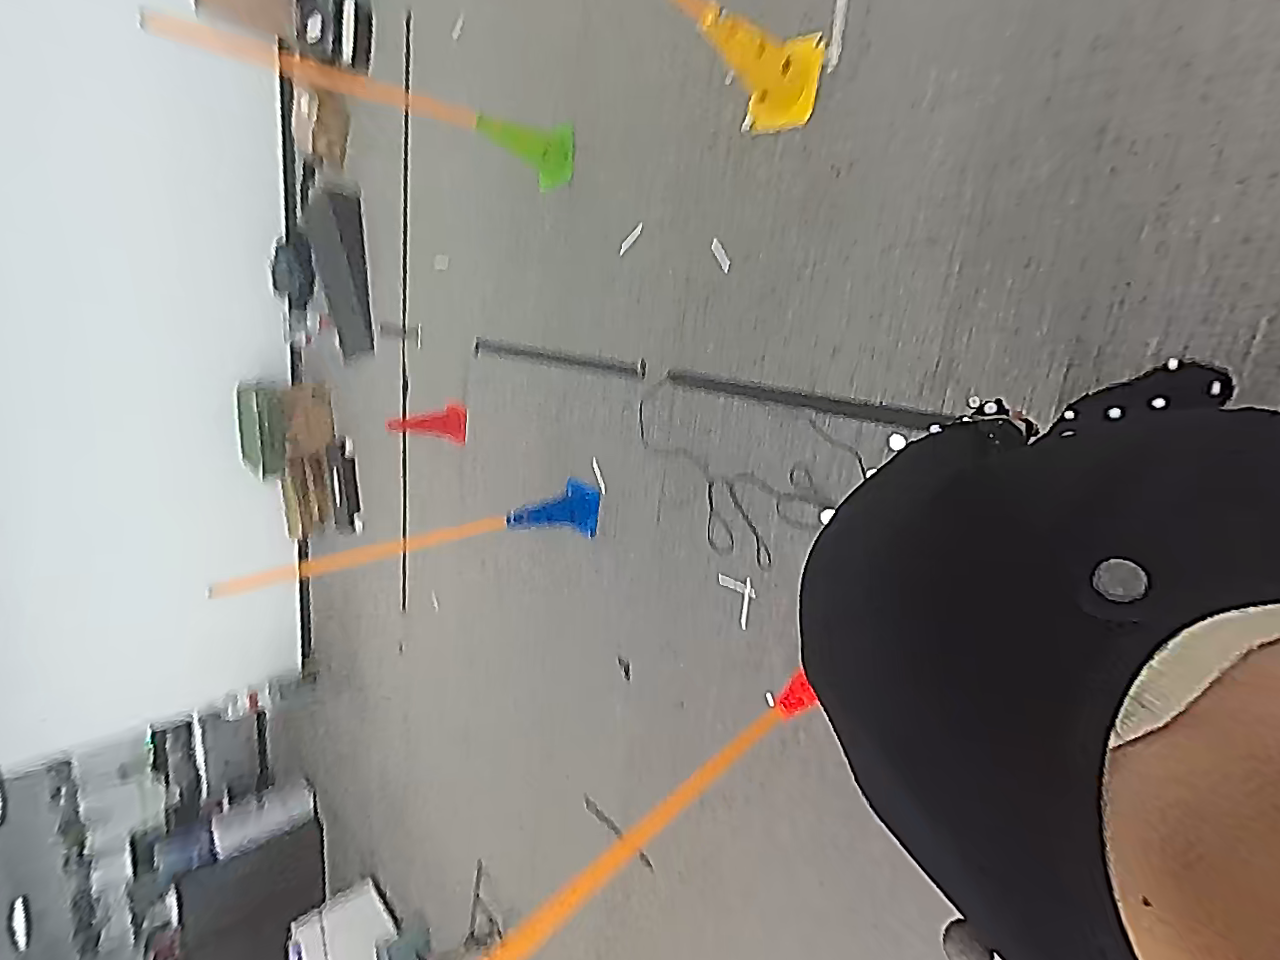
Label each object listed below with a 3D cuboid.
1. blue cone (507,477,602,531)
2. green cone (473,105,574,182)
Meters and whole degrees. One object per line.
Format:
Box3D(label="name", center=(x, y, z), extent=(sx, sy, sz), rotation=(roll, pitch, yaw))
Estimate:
Box3D(label="blue cone", center=(-0.340, 0.108, 2.048), extent=(0.192, 0.380, 0.193), rotation=(22, 111, 39))
Box3D(label="green cone", center=(-0.435, -1.249, 1.947), extent=(0.202, 0.368, 0.200), rotation=(5, 99, 41))
